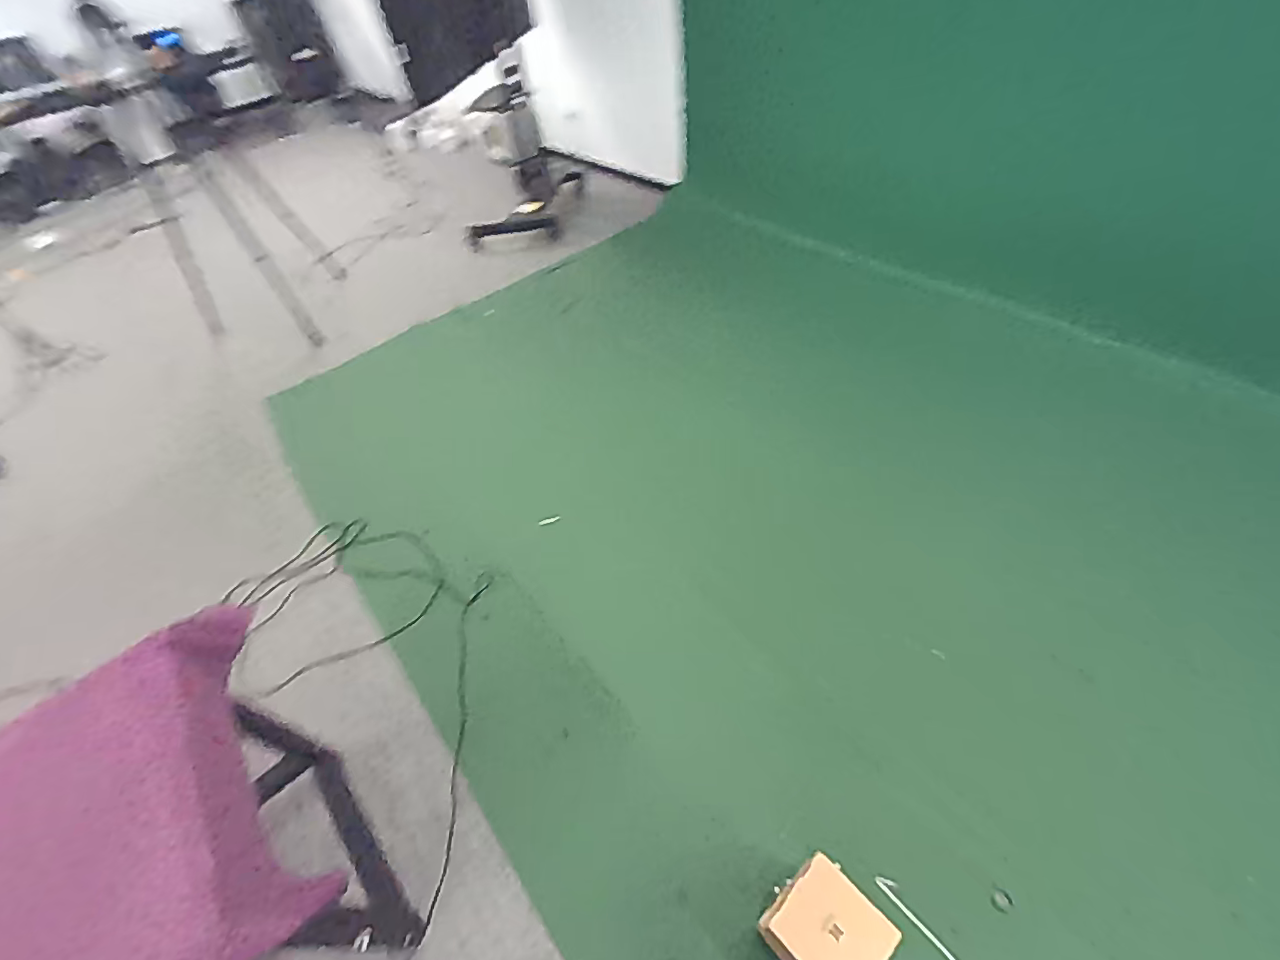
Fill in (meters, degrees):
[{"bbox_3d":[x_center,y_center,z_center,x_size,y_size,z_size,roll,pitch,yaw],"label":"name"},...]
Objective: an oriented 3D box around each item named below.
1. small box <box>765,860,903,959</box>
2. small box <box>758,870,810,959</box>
[{"bbox_3d":[0.357,0.870,1.024,0.168,0.176,0.179,-38,53,-23],"label":"small box"},{"bbox_3d":[0.370,0.976,1.147,0.168,0.176,0.179,-35,52,-22],"label":"small box"}]
